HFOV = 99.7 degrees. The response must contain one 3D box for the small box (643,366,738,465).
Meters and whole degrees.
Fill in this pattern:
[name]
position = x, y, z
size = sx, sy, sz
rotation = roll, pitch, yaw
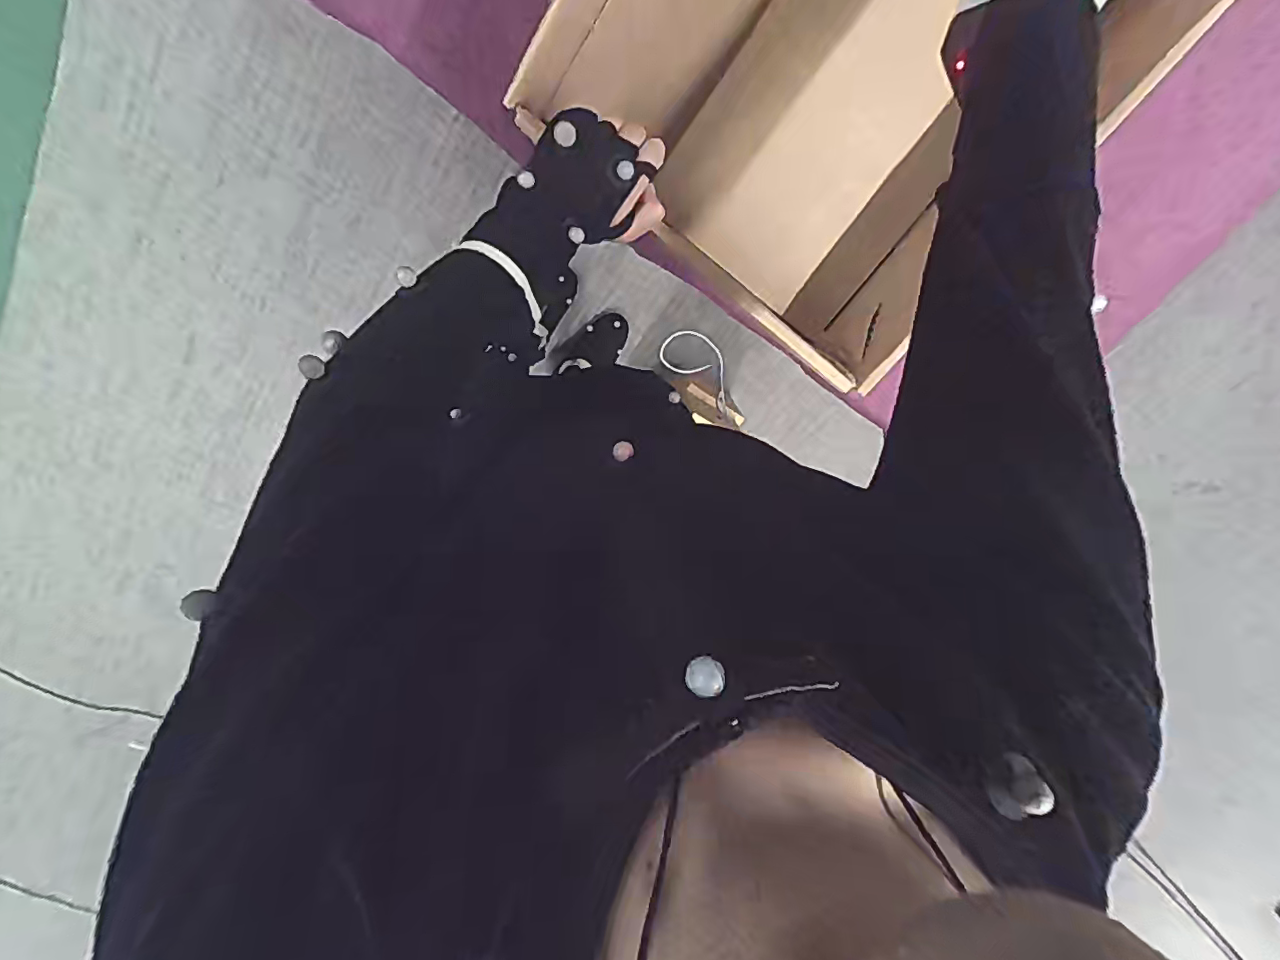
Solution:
[small box]
position = 0.125, -0.175, 1.424
size = 0.179, 0.176, 0.168
rotation = 30, 112, -19
